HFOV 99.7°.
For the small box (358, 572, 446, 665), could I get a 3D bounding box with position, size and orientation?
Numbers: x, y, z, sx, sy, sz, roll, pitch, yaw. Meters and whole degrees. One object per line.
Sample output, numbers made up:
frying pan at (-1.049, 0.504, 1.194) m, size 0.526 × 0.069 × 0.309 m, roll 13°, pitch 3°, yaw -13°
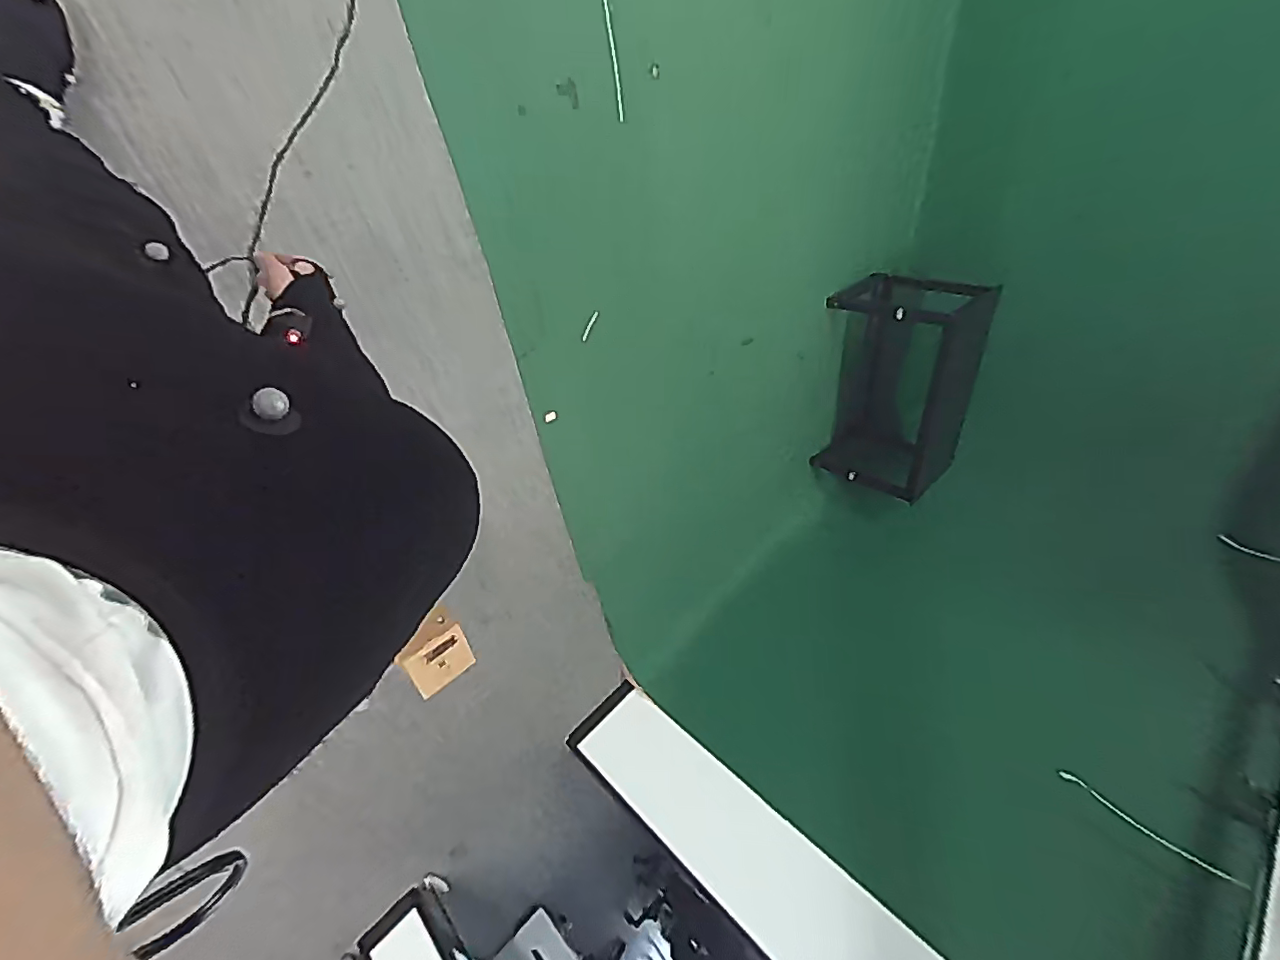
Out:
small box at (-0.728, 0.415, 1.642) m, size 0.179 × 0.176 × 0.168 m, roll -36°, pitch 134°, yaw -30°
